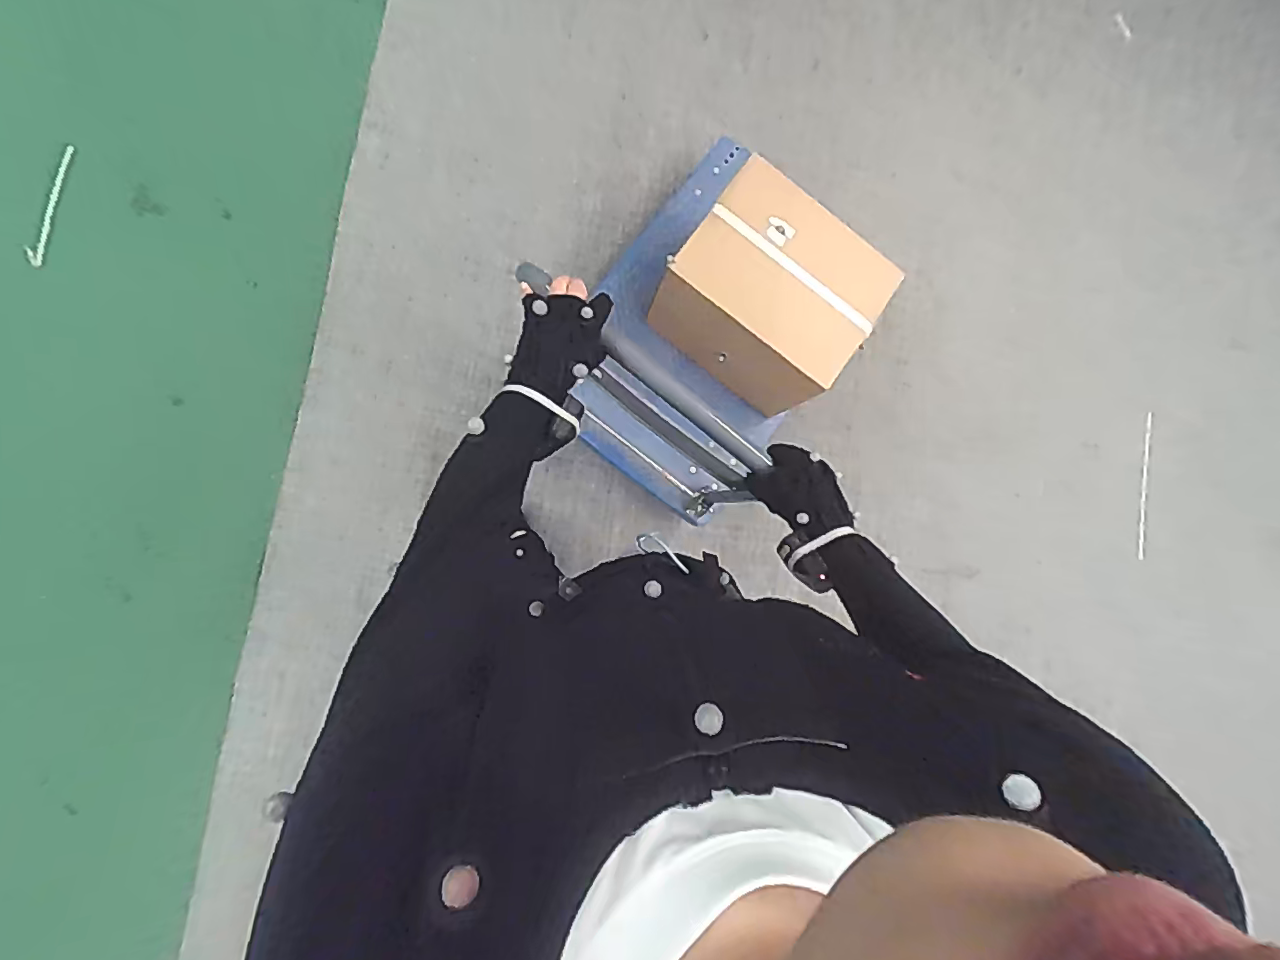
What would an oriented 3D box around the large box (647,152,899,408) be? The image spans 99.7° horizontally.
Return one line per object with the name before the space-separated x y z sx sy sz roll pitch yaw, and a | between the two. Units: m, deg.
large box | 0.276 -0.421 1.237 0.408 0.320 0.320 37 82 -3
